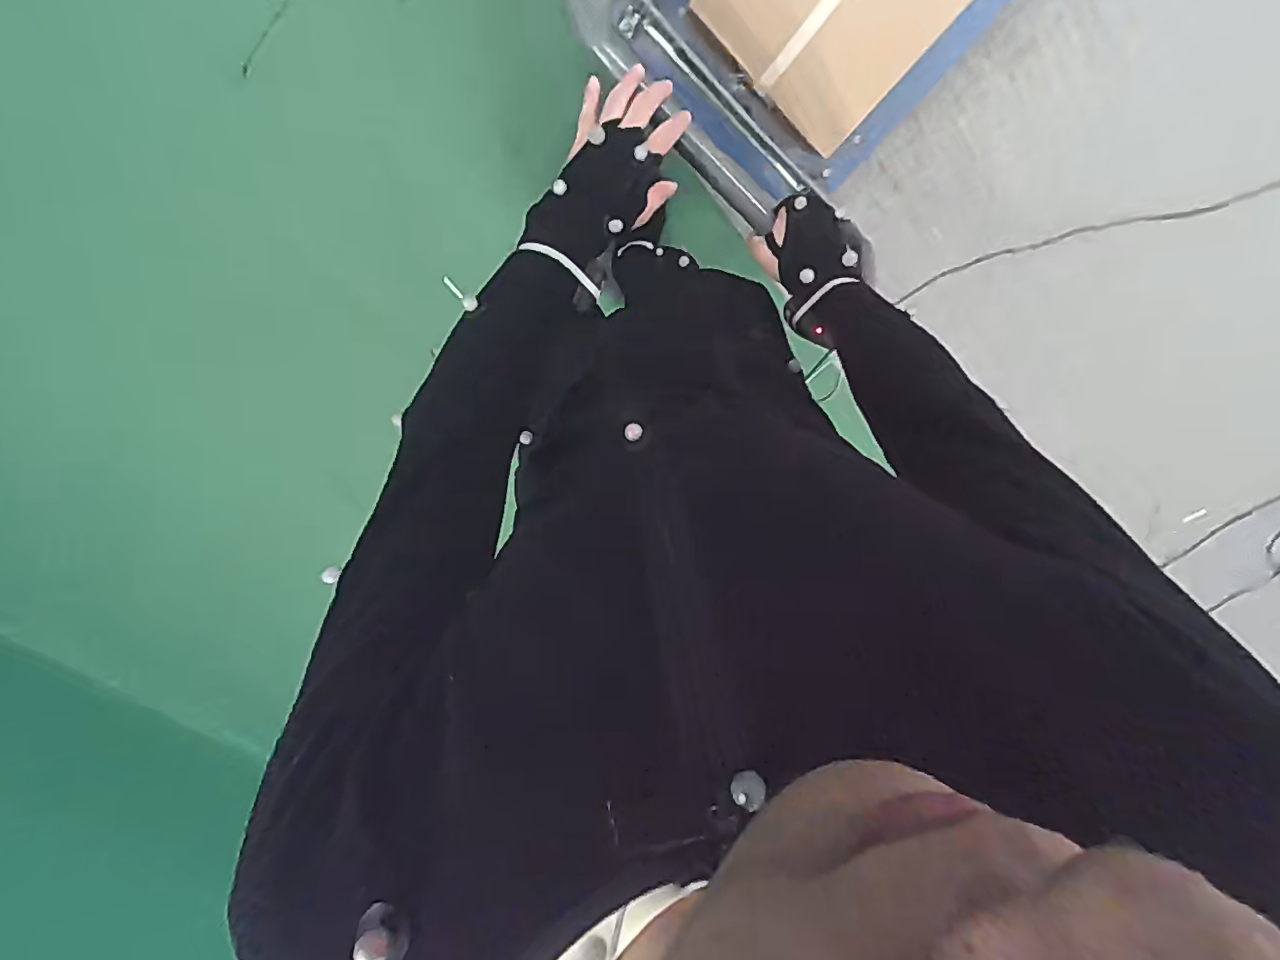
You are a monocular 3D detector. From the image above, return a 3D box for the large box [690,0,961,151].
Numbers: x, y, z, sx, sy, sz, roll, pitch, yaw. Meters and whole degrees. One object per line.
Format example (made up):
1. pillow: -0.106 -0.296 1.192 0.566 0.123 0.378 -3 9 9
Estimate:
1. large box: 0.322 -0.824 0.875 0.320 0.320 0.408 36 119 -19
